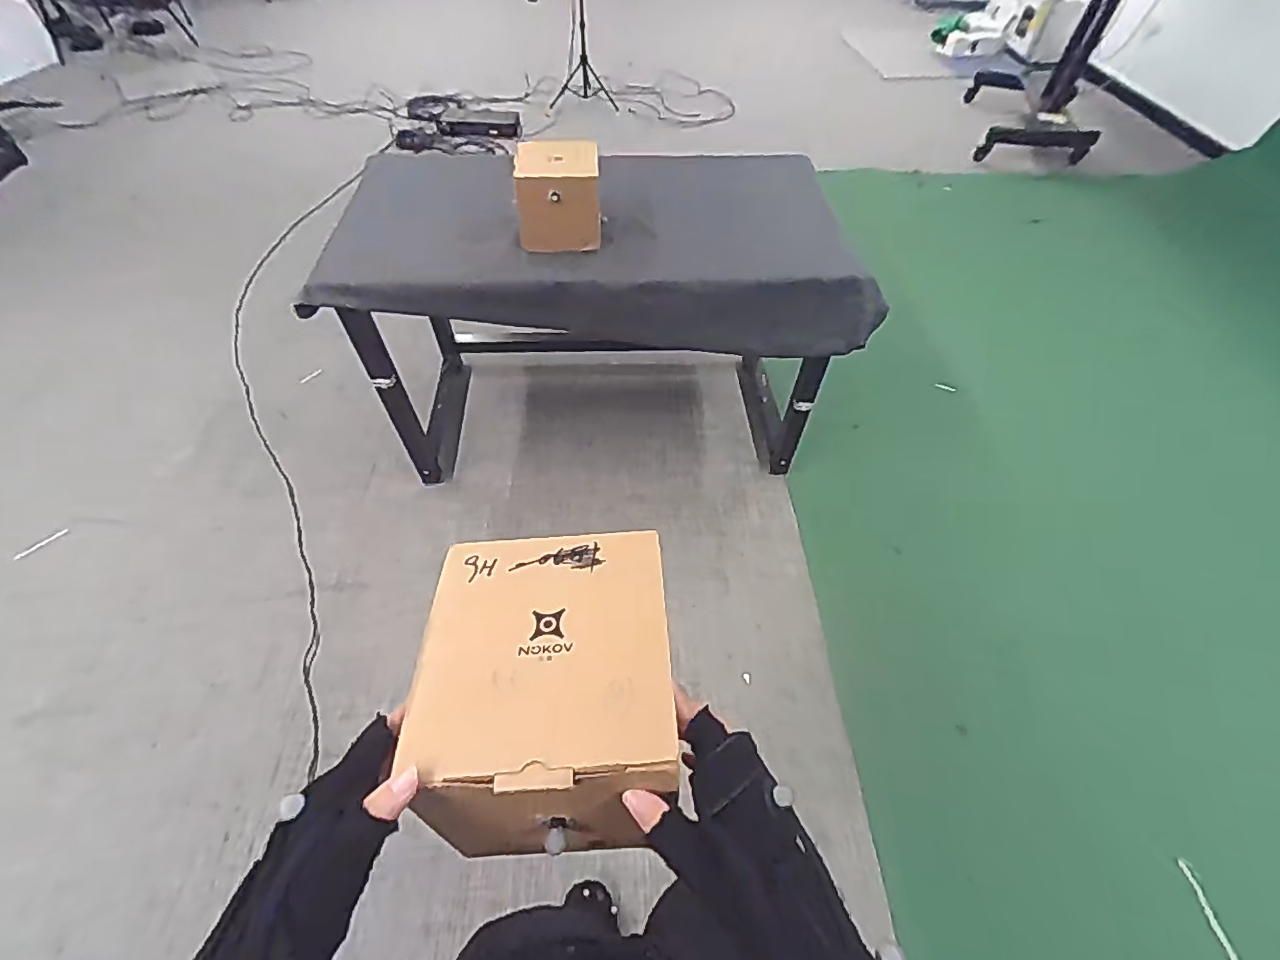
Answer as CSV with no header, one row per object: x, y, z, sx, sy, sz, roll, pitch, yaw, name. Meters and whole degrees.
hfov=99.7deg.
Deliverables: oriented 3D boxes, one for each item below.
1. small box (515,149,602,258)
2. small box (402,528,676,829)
-0.178,-0.621,1.222,0.179,0.176,0.168,-2,54,-5,small box
-0.060,0.162,0.433,0.168,0.176,0.179,-4,45,0,small box
